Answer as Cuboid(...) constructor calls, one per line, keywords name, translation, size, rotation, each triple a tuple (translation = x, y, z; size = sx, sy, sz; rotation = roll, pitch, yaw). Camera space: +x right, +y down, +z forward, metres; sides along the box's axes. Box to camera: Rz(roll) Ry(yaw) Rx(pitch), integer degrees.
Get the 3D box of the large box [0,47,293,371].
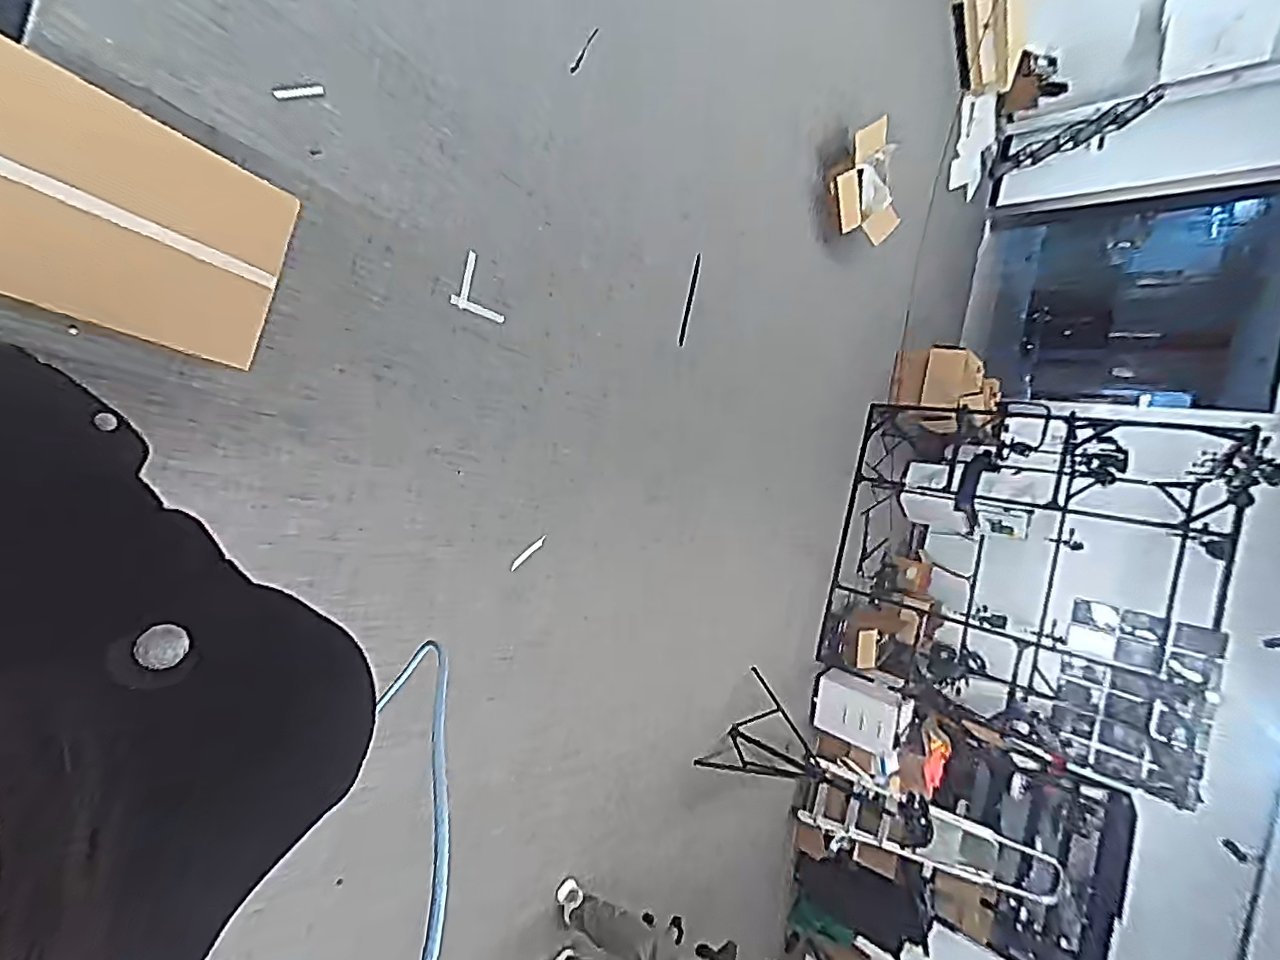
Cuboid(name="large box", translation=(-0.868, -0.389, 0.867), size=(0.408, 0.320, 0.320), rotation=(19, 84, -51))
